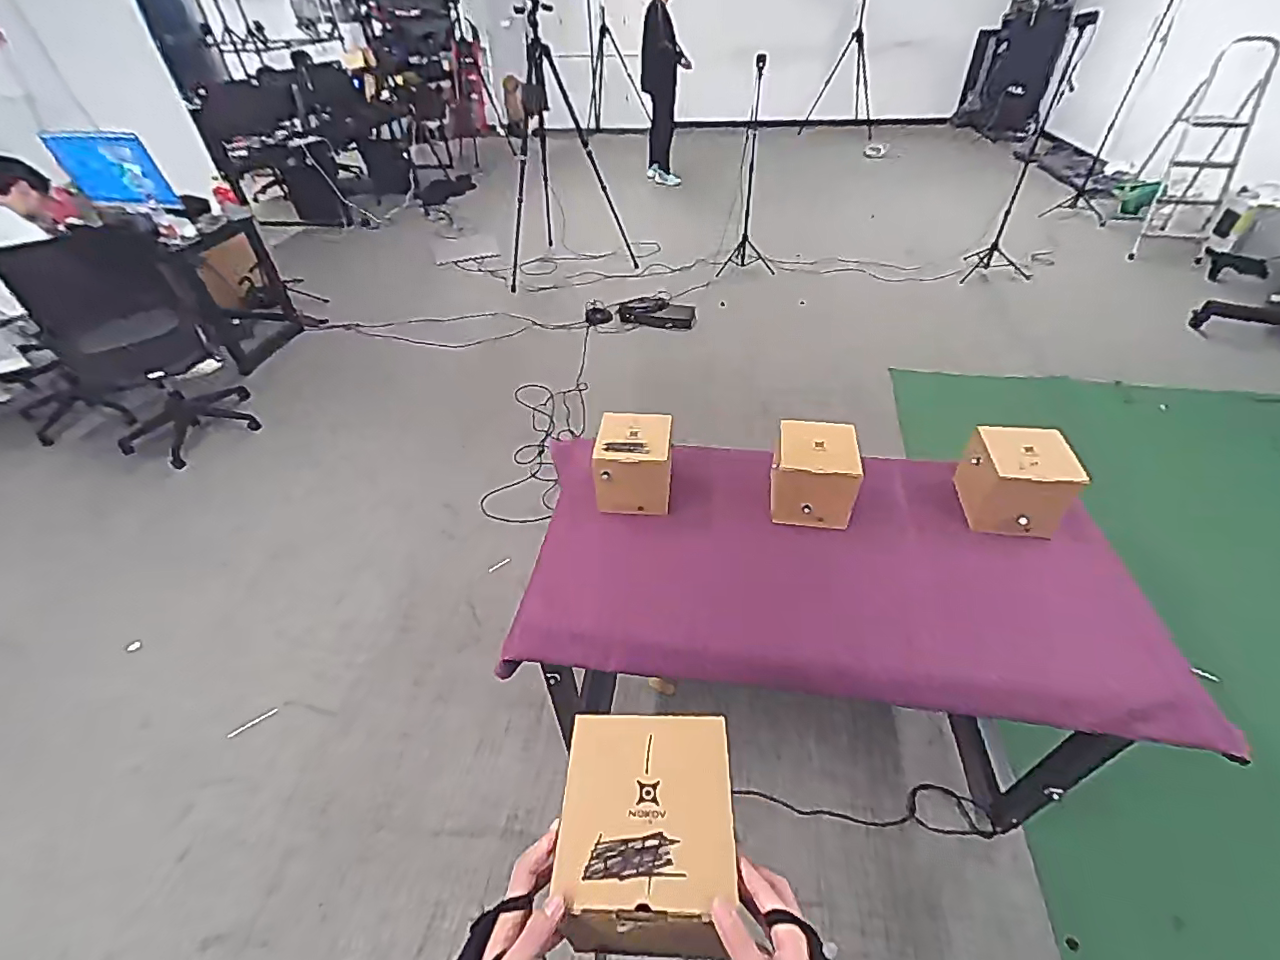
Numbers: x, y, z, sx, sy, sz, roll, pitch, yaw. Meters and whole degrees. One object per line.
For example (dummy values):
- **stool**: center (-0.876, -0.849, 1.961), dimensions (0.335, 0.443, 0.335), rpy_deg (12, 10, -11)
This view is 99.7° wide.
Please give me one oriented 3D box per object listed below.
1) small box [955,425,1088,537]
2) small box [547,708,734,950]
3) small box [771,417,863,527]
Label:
- **small box**: center (0.819, 0.001, 1.186), dimensions (0.168, 0.176, 0.179), rpy_deg (4, 44, 10)
- **small box**: center (0.011, 0.367, 0.572), dimensions (0.168, 0.176, 0.179), rpy_deg (-1, 38, 5)
- **small box**: center (0.393, -0.019, 1.231), dimensions (0.168, 0.176, 0.179), rpy_deg (6, 44, 8)
